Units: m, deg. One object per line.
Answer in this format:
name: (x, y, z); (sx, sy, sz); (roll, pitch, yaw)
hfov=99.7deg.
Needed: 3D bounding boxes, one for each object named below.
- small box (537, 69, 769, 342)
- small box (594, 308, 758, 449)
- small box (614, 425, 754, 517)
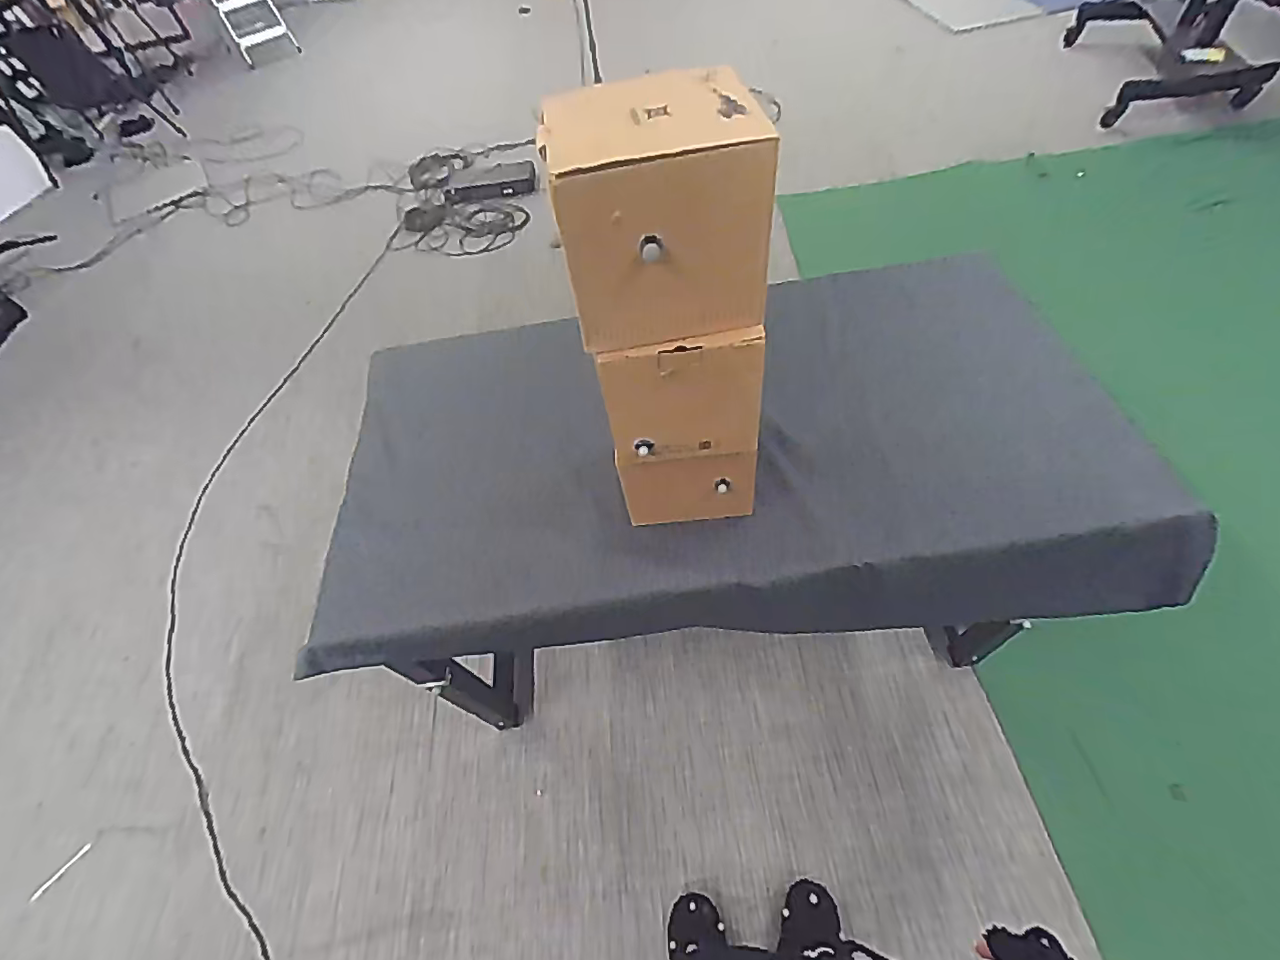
small box: (0.011, -0.254, 0.517); (0.179, 0.176, 0.168); (-12, 52, -2)
small box: (0.039, -0.151, 0.638); (0.168, 0.176, 0.179); (-9, 55, 2)
small box: (0.061, -0.063, 0.775); (0.179, 0.176, 0.168); (-7, 54, 5)
